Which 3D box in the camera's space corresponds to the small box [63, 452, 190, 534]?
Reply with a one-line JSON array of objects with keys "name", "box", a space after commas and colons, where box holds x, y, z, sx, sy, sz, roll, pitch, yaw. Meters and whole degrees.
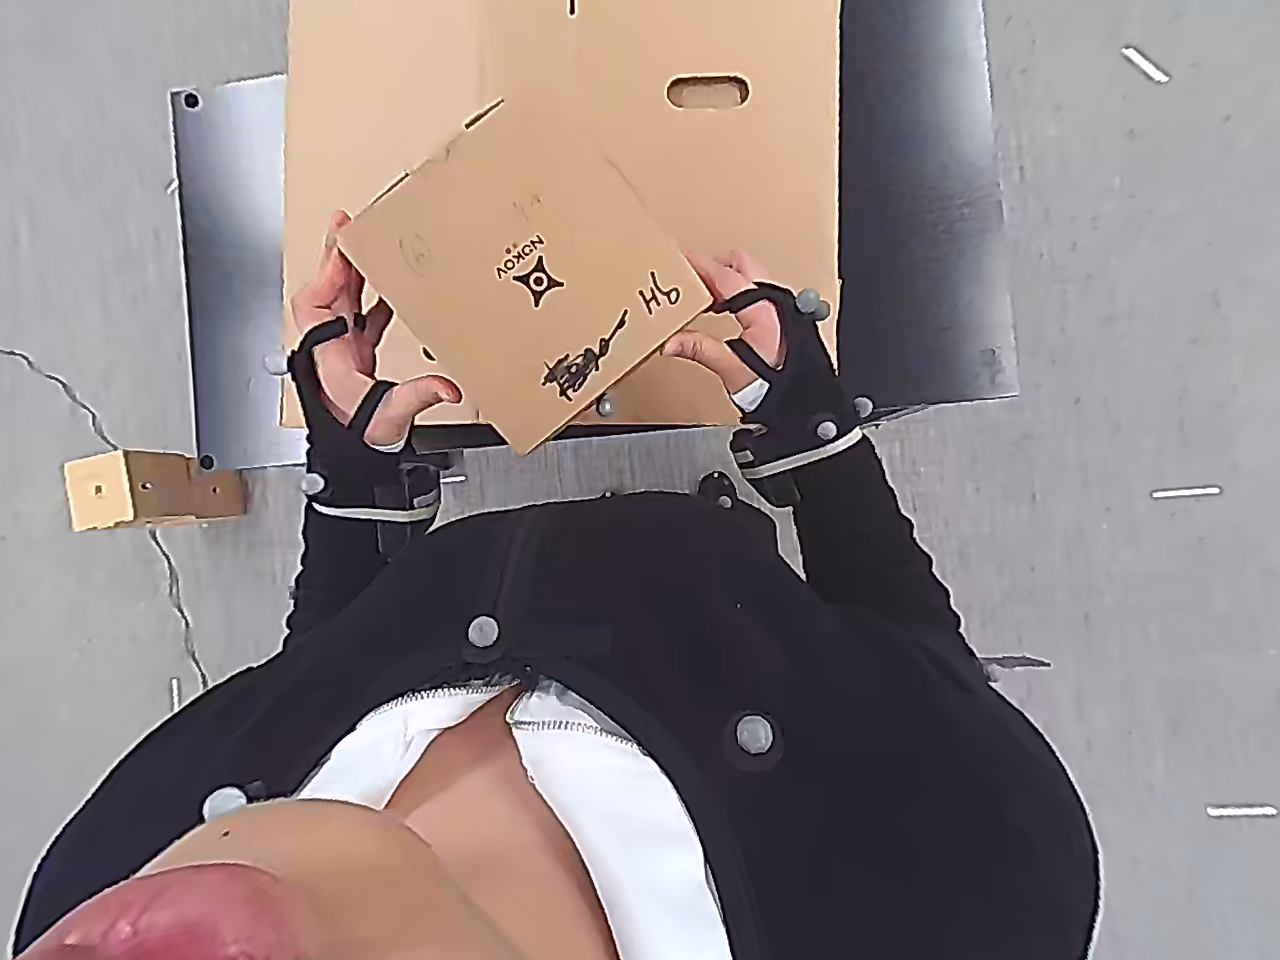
[{"name": "small box", "box": [-1.308, 0.033, 1.390, 0.168, 0.176, 0.179, -12, 87, 5]}]

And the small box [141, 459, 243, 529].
[{"name": "small box", "box": [-1.289, 0.041, 1.552, 0.168, 0.176, 0.179, -9, 89, 6]}]
